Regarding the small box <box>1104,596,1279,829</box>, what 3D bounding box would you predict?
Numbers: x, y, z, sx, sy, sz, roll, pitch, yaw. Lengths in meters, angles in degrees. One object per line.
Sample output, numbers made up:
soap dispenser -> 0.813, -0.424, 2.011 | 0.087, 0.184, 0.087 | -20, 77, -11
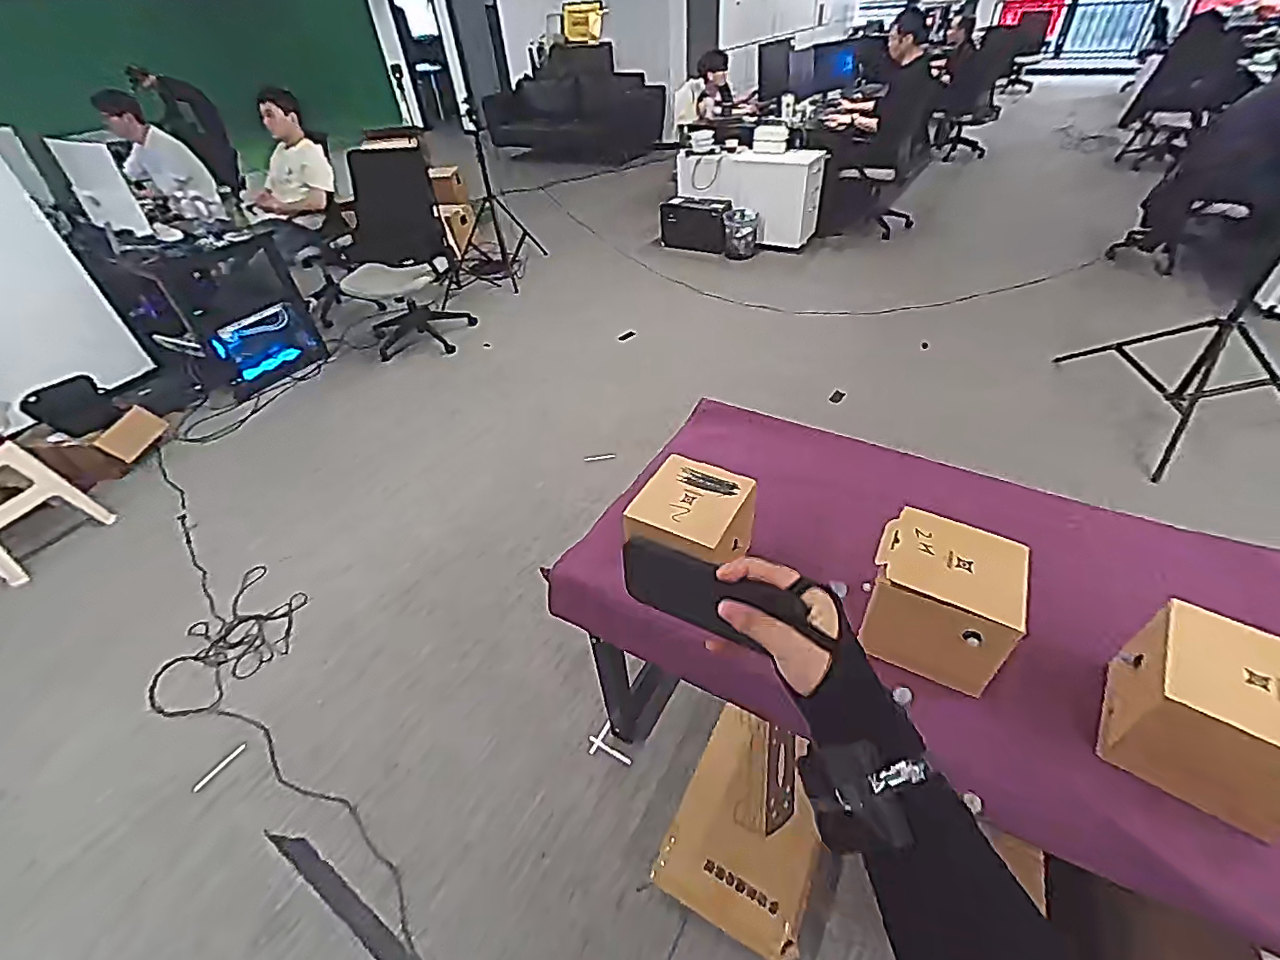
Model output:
small box -> 0.715, 0.283, 0.662 | 0.179, 0.176, 0.168 | 24, 49, 29

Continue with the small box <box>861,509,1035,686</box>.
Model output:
small box -> 0.452, 0.177, 0.807 | 0.179, 0.176, 0.168 | 18, 44, 24
